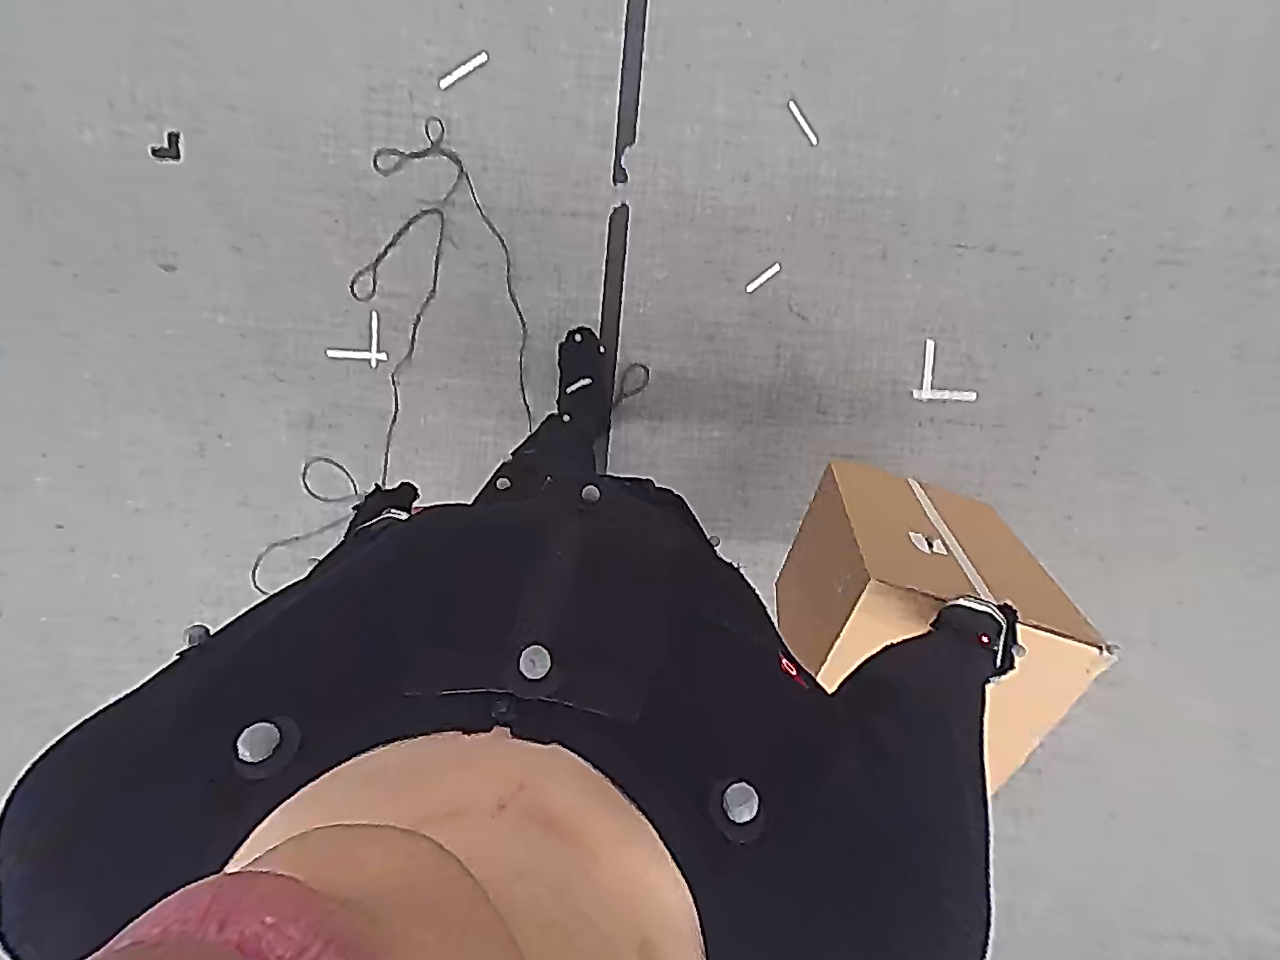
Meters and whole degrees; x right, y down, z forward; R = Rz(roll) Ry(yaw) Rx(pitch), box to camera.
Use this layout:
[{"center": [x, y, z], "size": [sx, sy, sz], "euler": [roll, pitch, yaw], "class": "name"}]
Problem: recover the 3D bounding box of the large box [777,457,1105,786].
[{"center": [0.445, 0.213, 0.934], "size": [0.320, 0.408, 0.320], "euler": [17, 118, 4], "class": "large box"}]
